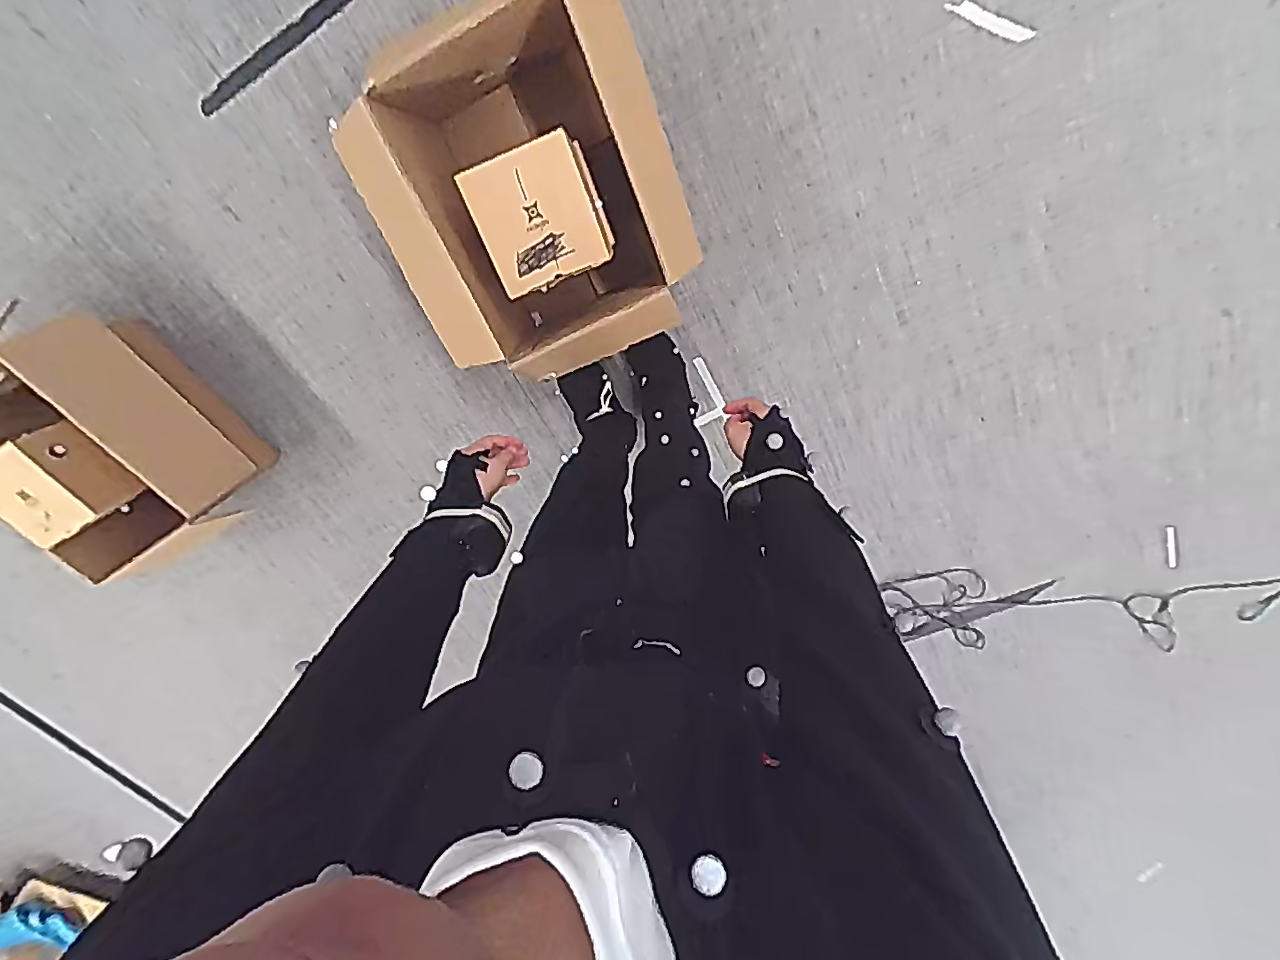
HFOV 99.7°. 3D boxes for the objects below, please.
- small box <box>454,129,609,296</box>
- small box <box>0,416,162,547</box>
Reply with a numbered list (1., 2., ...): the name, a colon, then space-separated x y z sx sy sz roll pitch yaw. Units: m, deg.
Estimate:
1. small box: -0.153 -0.407 0.838 0.168 0.176 0.179 -19 113 7
2. small box: -1.116 -0.007 1.057 0.168 0.176 0.179 -26 115 14
